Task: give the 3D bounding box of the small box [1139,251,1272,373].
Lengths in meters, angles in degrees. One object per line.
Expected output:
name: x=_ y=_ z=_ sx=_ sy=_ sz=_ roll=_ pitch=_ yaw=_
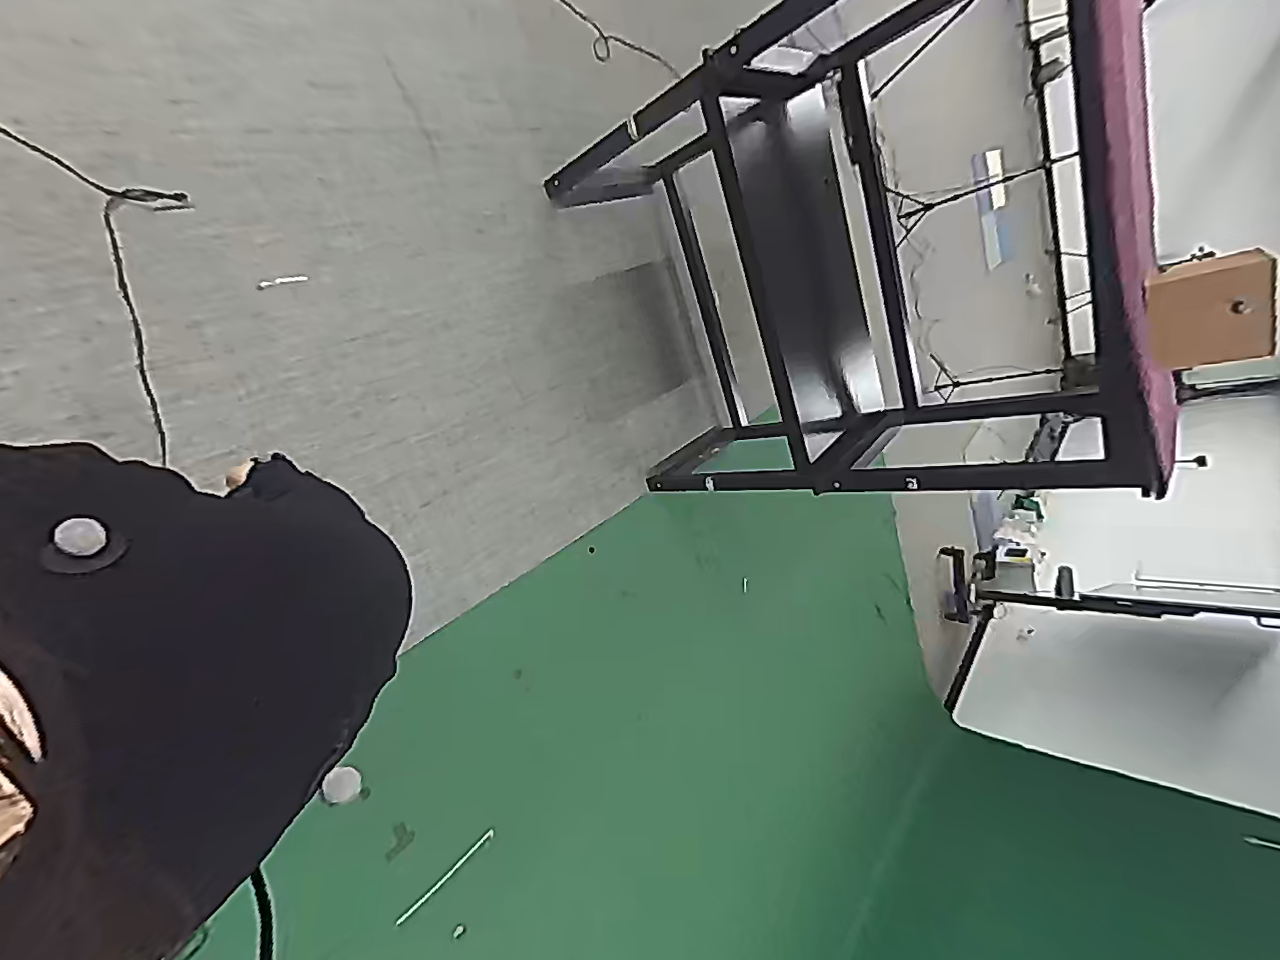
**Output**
small box: x=1.093 y=-0.325 z=1.056 sx=0.168 sy=0.176 sz=0.179 roll=-32 pitch=112 yaw=-42
